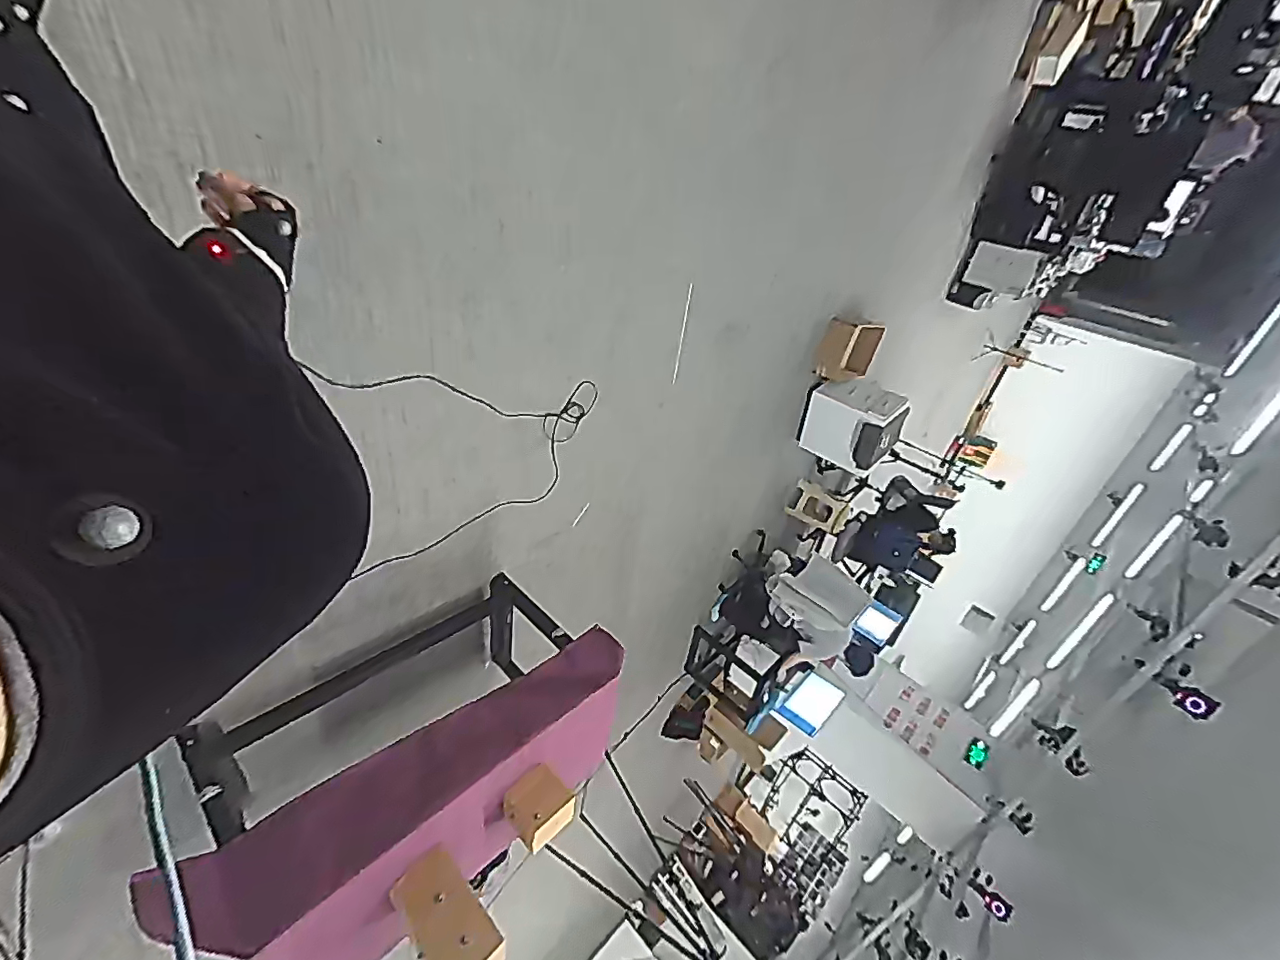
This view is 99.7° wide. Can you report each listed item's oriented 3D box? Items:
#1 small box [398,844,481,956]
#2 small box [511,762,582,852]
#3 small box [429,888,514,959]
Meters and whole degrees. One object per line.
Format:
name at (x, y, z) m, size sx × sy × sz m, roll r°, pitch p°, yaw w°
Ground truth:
small box at (-0.594, 1.240, 1.609) m, size 0.179 × 0.176 × 0.168 m, roll -24°, pitch 135°, yaw -40°
small box at (-0.325, 1.122, 1.868) m, size 0.179 × 0.176 × 0.168 m, roll -25°, pitch 136°, yaw -39°
small box at (-0.477, 1.317, 1.523) m, size 0.179 × 0.176 × 0.168 m, roll -26°, pitch 136°, yaw -41°
